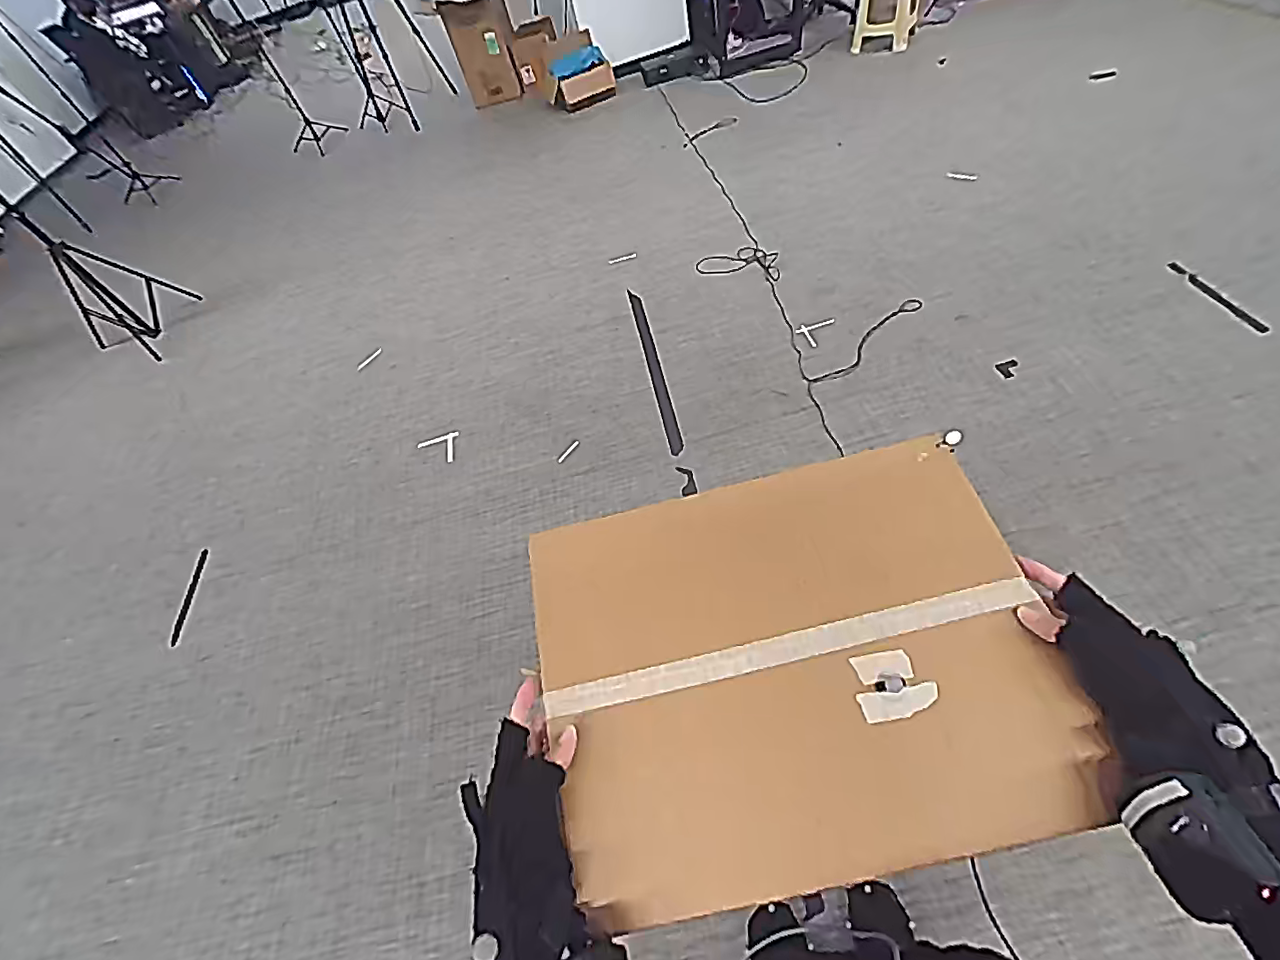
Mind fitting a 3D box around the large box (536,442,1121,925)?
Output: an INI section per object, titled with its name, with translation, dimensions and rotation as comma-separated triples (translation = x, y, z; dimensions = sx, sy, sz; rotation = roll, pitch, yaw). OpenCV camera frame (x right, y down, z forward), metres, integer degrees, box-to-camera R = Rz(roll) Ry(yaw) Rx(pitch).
[large box]
translation = 0.138, 0.212, 0.585
dimensions = 0.408, 0.320, 0.320
rotation = -14, 60, 1
